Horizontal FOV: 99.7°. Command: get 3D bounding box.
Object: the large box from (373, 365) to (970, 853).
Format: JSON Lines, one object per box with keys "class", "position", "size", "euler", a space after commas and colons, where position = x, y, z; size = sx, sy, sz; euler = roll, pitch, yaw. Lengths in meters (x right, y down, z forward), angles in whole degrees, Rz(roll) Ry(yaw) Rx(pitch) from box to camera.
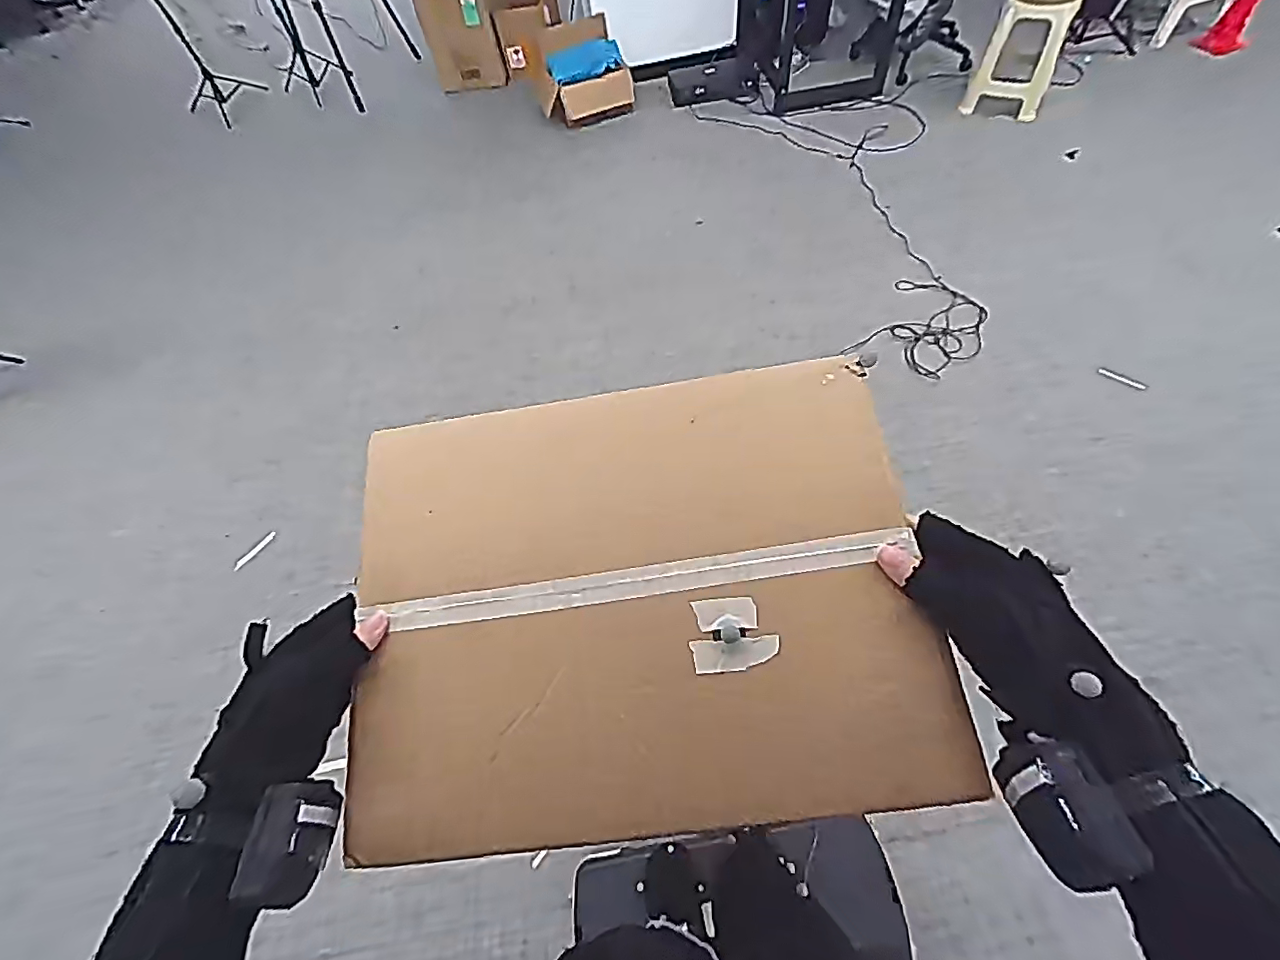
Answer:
{"class": "large box", "position": [0.011, 0.129, 0.543], "size": [0.408, 0.320, 0.320], "euler": [-9, 69, 3]}
